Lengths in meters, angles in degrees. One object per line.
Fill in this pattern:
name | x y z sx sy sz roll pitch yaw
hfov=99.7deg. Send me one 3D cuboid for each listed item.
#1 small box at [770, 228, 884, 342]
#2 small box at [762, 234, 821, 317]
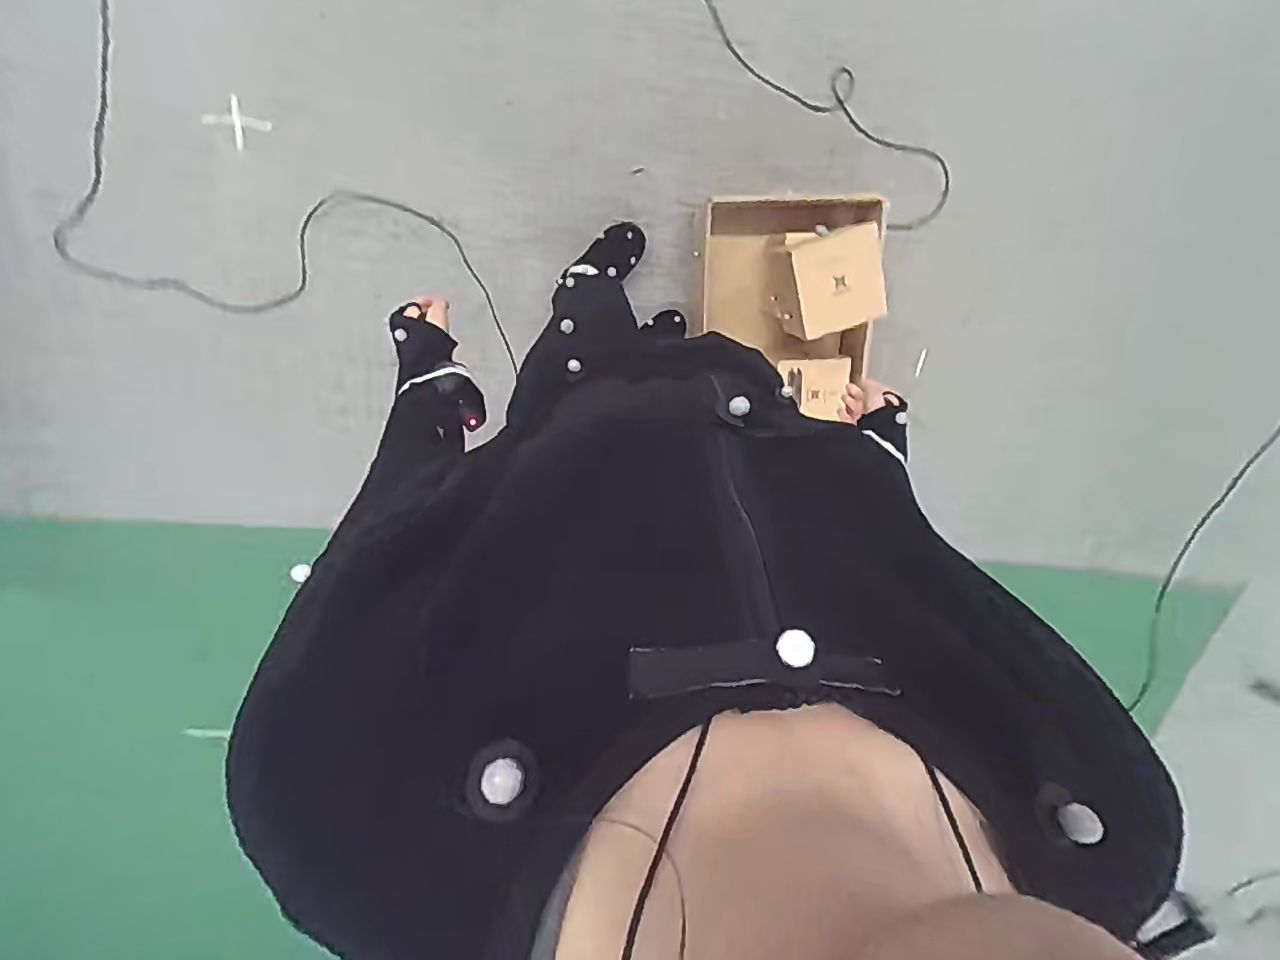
small box | 0.378 -0.402 1.109 0.168 0.176 0.179 -16 112 4
small box | 0.388 -0.472 1.256 0.168 0.176 0.179 0 114 -2
